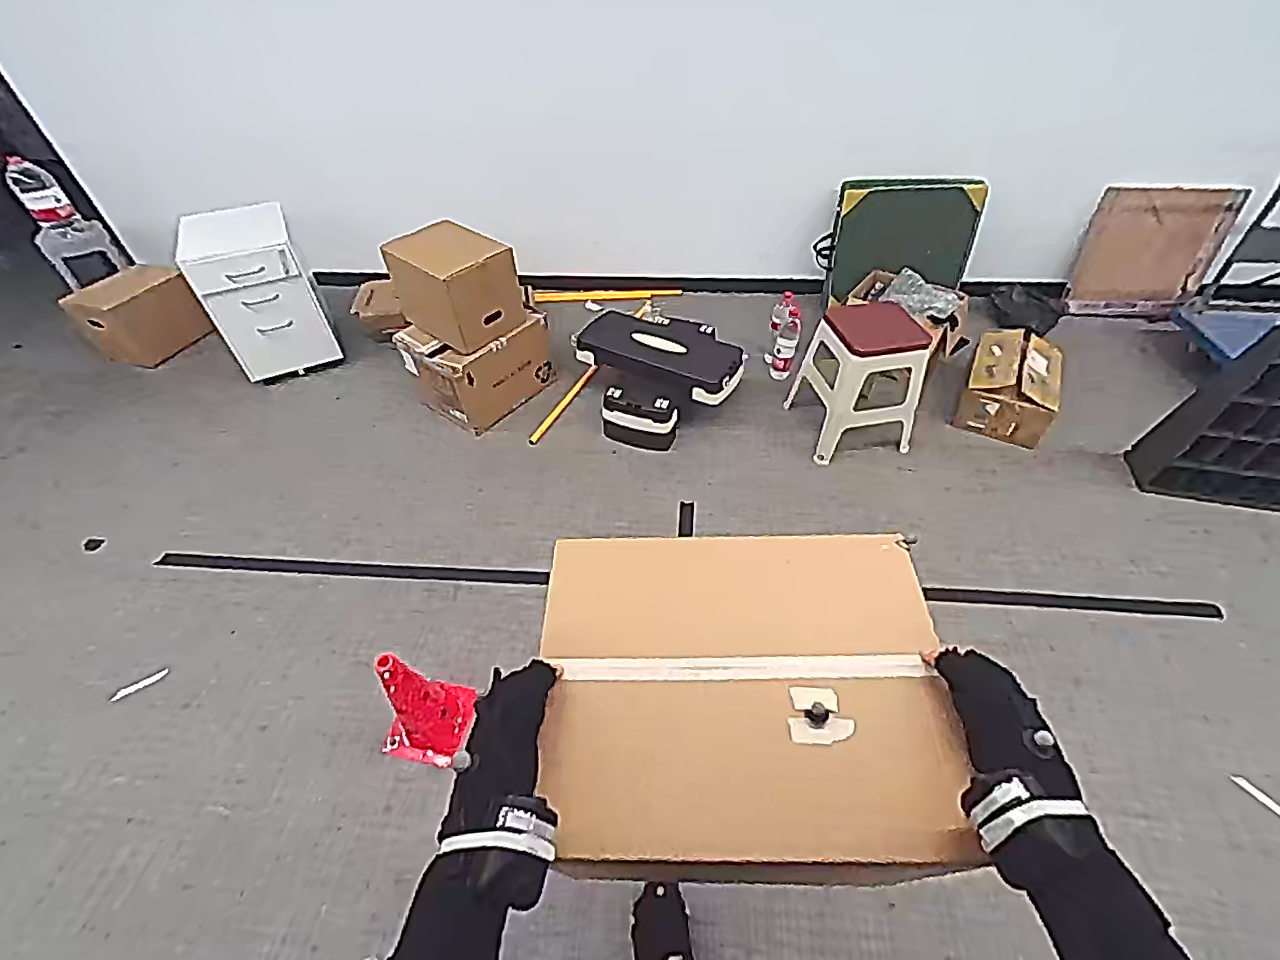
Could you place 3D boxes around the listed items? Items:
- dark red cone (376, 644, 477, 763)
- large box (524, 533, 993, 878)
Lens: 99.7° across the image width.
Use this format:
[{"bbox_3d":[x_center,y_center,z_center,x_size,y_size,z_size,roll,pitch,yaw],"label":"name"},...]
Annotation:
[{"bbox_3d":[-0.546,0.504,1.290,0.201,0.394,0.202,7,47,8],"label":"dark red cone"},{"bbox_3d":[0.102,0.281,0.661,0.408,0.320,0.320,-1,51,2],"label":"large box"}]
